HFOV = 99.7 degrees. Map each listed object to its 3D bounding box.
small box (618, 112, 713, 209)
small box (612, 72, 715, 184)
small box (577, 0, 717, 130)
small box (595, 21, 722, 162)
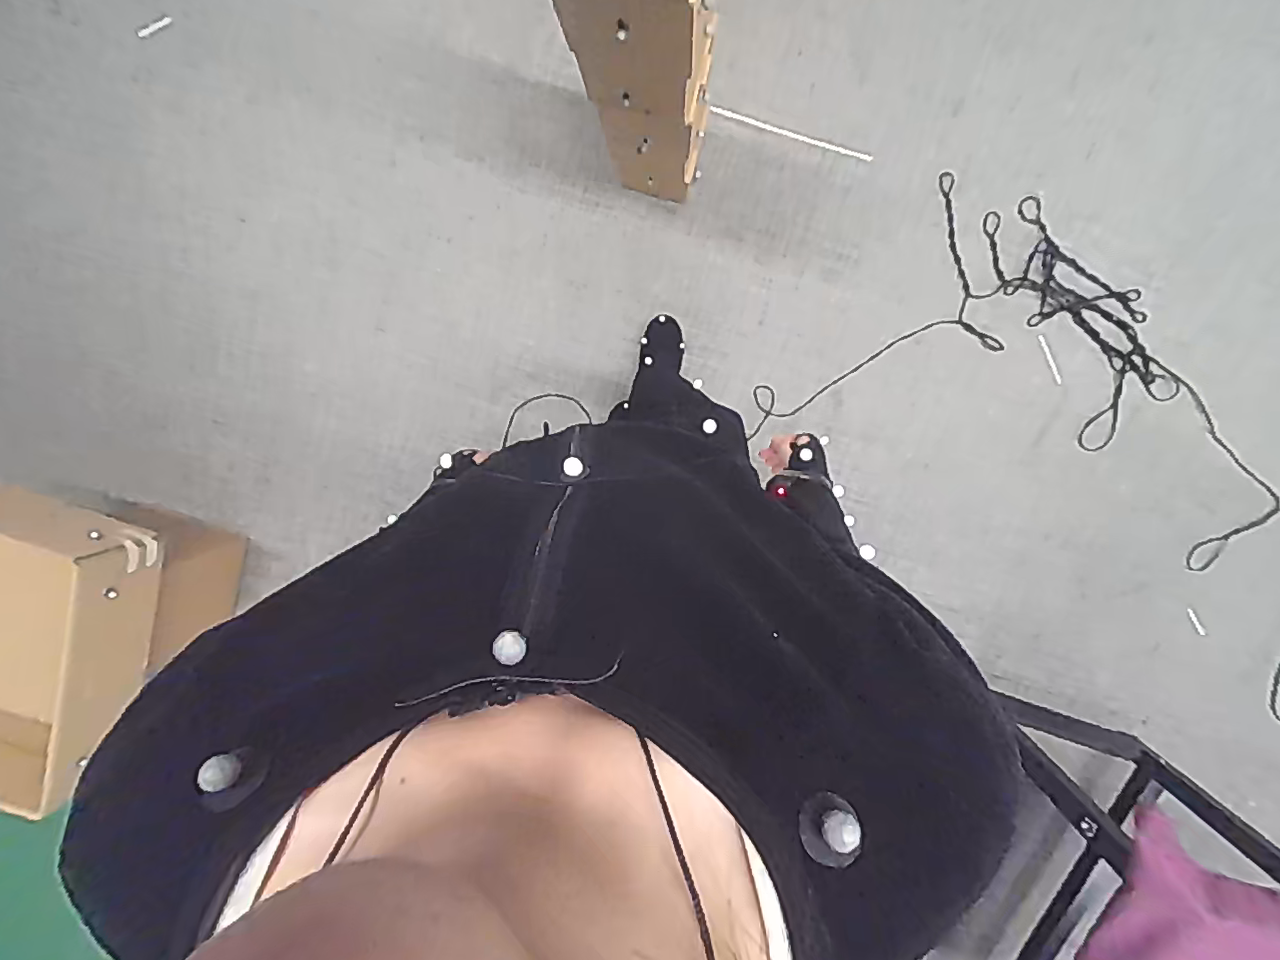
[{"bbox_3d":[0.060,-0.766,1.276,0.179,0.176,0.168,17,101,-1],"label":"small box"},{"bbox_3d":[0.041,-0.740,1.116,0.179,0.176,0.168,17,102,0],"label":"small box"},{"bbox_3d":[0.016,-0.662,0.800,0.168,0.176,0.179,15,103,1],"label":"small box"},{"bbox_3d":[0.032,-0.694,0.959,0.179,0.176,0.168,15,101,0],"label":"small box"}]
